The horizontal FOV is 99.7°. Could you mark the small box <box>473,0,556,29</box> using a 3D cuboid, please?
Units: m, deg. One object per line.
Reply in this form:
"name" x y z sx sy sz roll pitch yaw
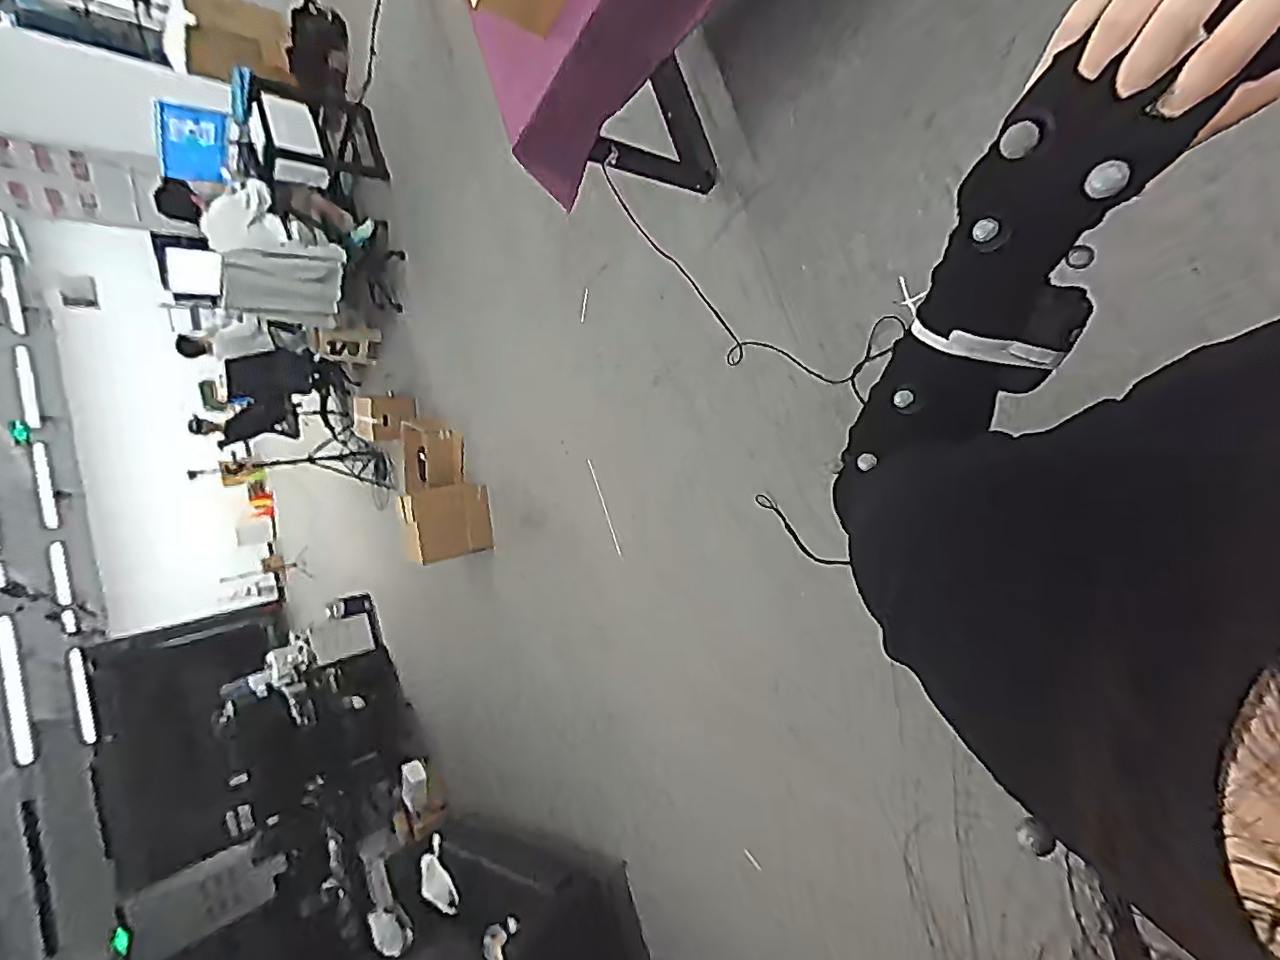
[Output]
"small box" -0.250 -1.087 1.104 0.179 0.176 0.168 -23 82 47
